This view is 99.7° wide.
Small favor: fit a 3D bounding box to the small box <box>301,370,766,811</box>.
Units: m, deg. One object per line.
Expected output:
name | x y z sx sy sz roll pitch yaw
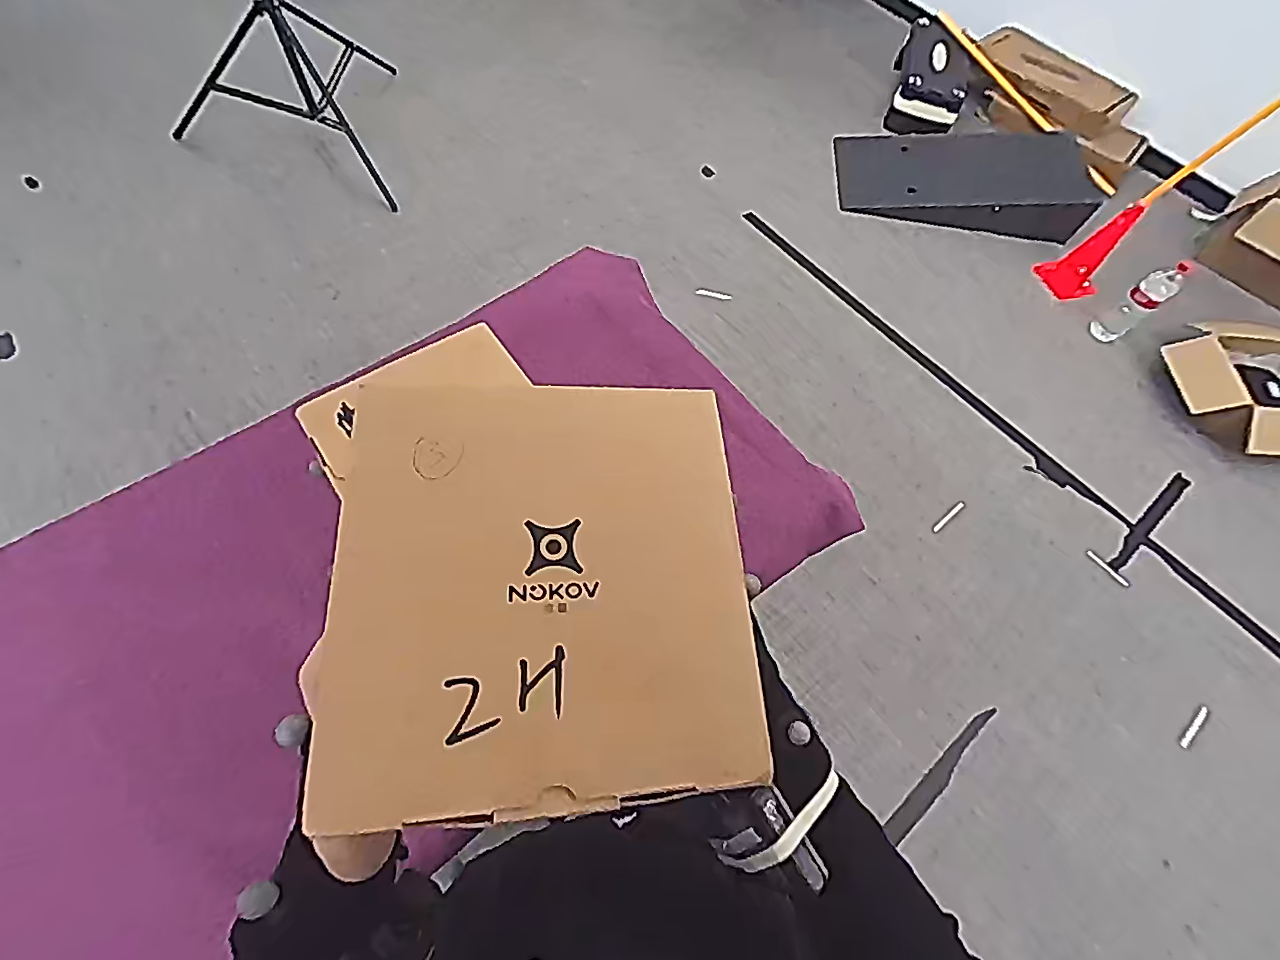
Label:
small box | -0.051 0.061 0.296 0.168 0.176 0.179 -1 67 -10
